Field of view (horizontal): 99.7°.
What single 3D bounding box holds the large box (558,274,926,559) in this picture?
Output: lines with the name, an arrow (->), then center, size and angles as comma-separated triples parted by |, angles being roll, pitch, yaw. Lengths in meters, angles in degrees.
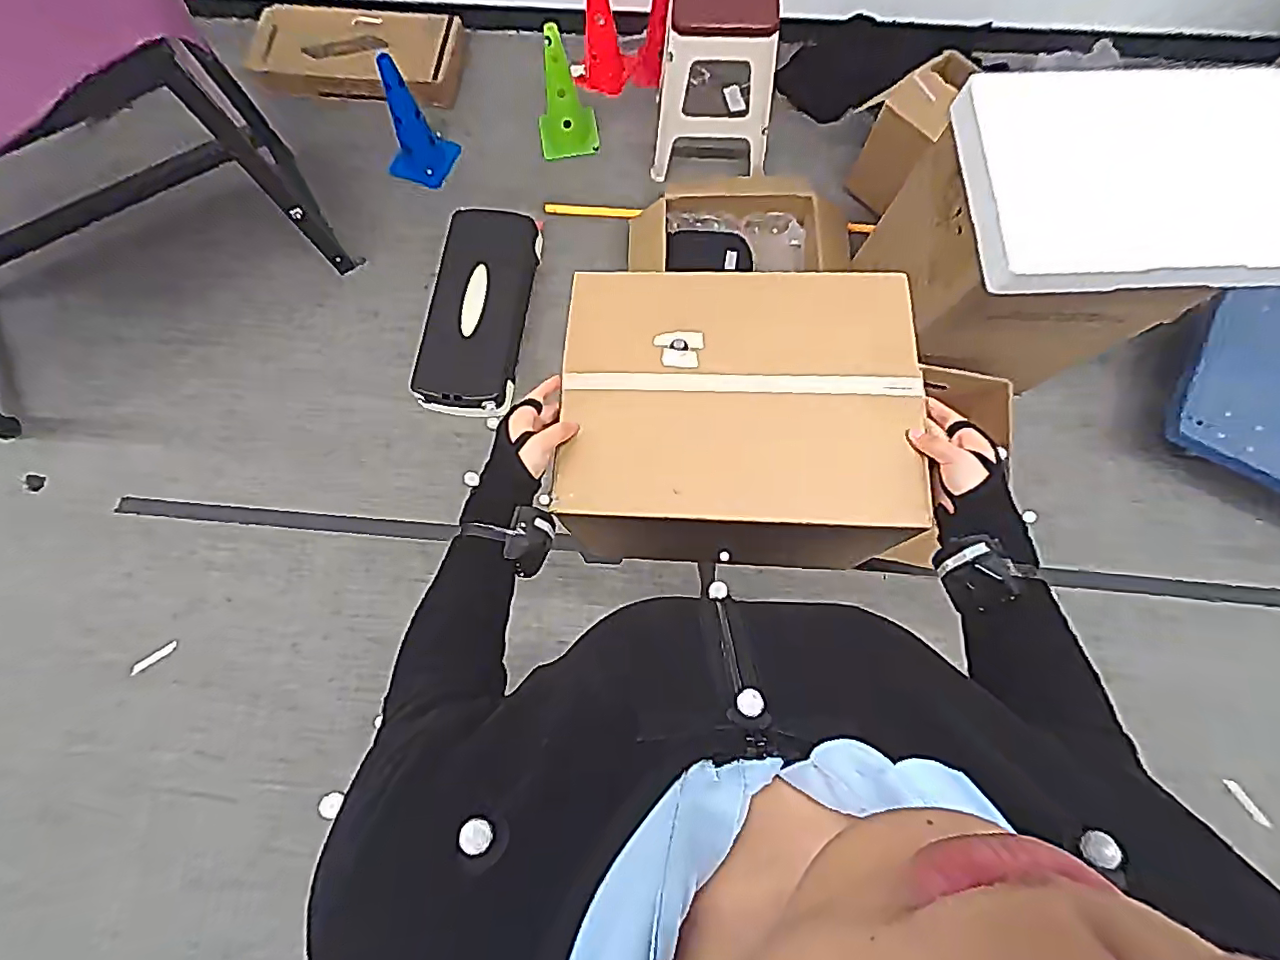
large box -> 0.124, -0.062, 0.771 | 0.408, 0.320, 0.320 | 1, 72, 5
